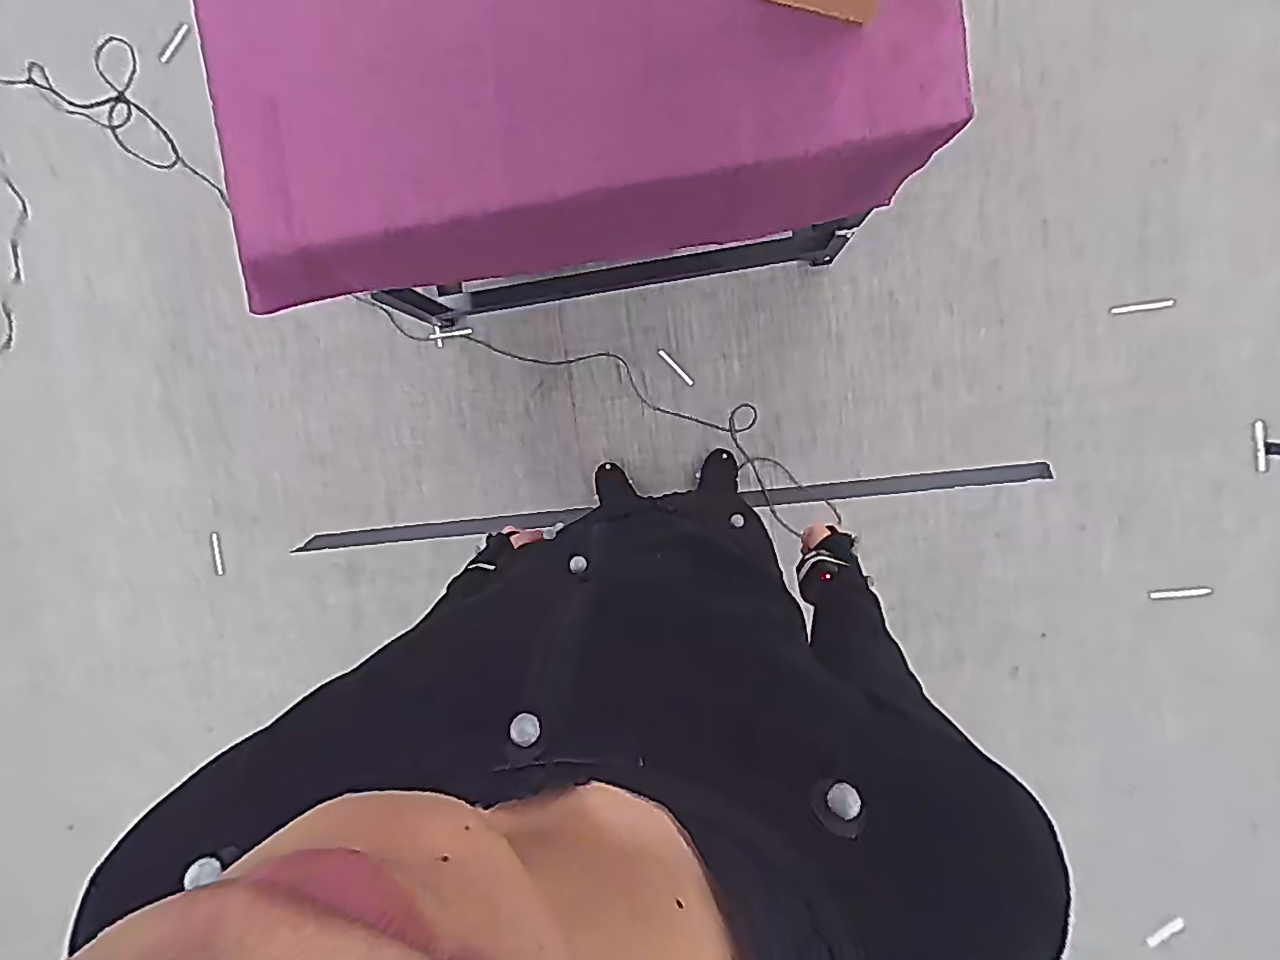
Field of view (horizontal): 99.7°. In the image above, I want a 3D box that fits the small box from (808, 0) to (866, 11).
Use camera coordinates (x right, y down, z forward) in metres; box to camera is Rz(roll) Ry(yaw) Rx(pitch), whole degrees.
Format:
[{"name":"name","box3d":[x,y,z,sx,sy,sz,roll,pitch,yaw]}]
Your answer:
[{"name":"small box","box3d":[0.275,-0.790,0.727,0.179,0.176,0.168,18,96,4]}]
